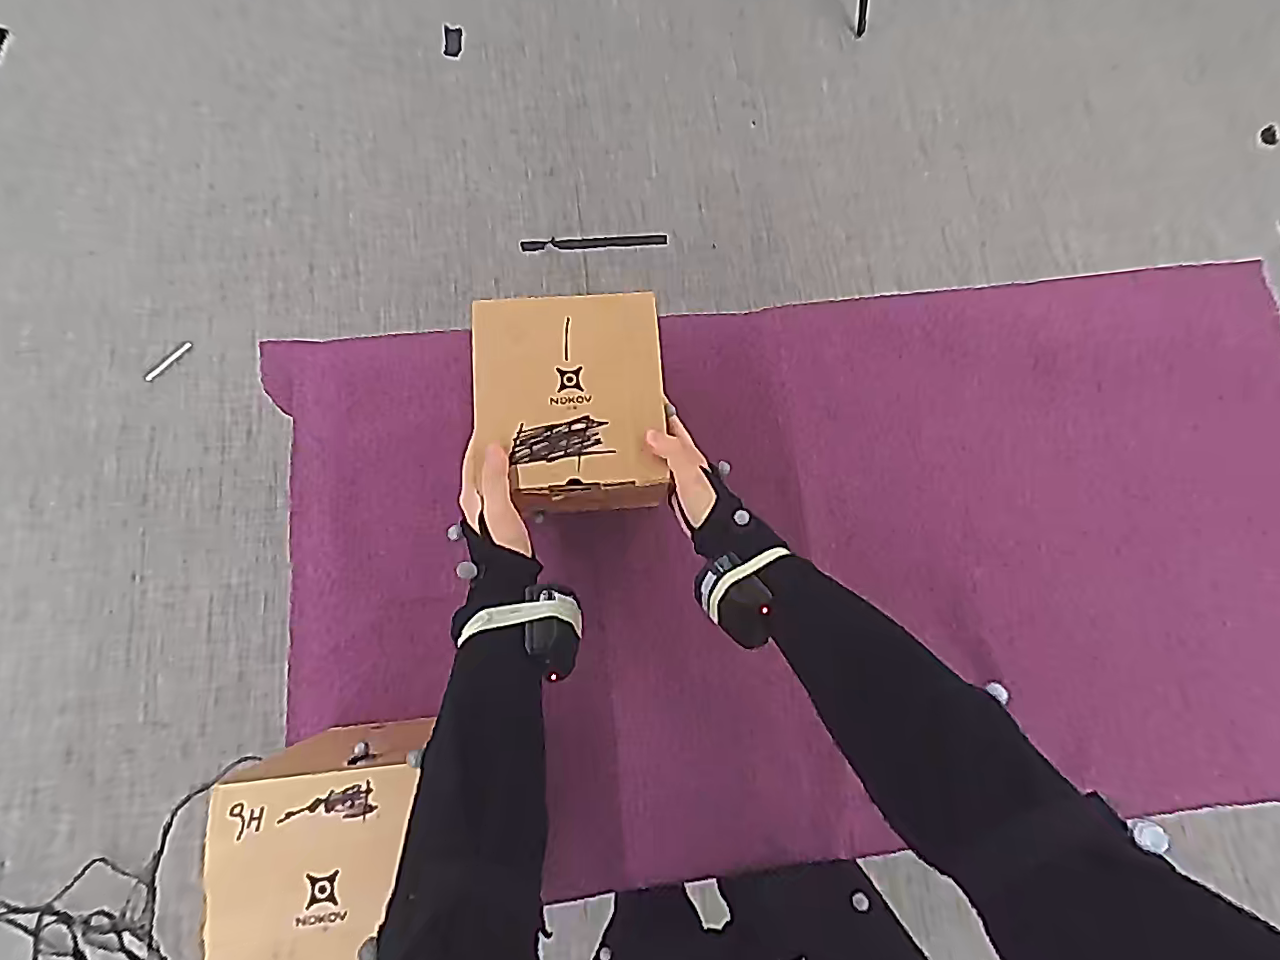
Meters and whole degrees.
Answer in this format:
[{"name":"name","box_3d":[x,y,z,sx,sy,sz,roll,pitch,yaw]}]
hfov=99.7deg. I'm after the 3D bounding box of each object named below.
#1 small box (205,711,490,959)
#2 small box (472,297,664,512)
[{"name":"small box","box_3d":[-0.232,0.320,0.472,0.168,0.176,0.179,-5,79,-3]},{"name":"small box","box_3d":[-0.066,-0.063,0.552,0.168,0.176,0.179,-4,80,-3]}]
